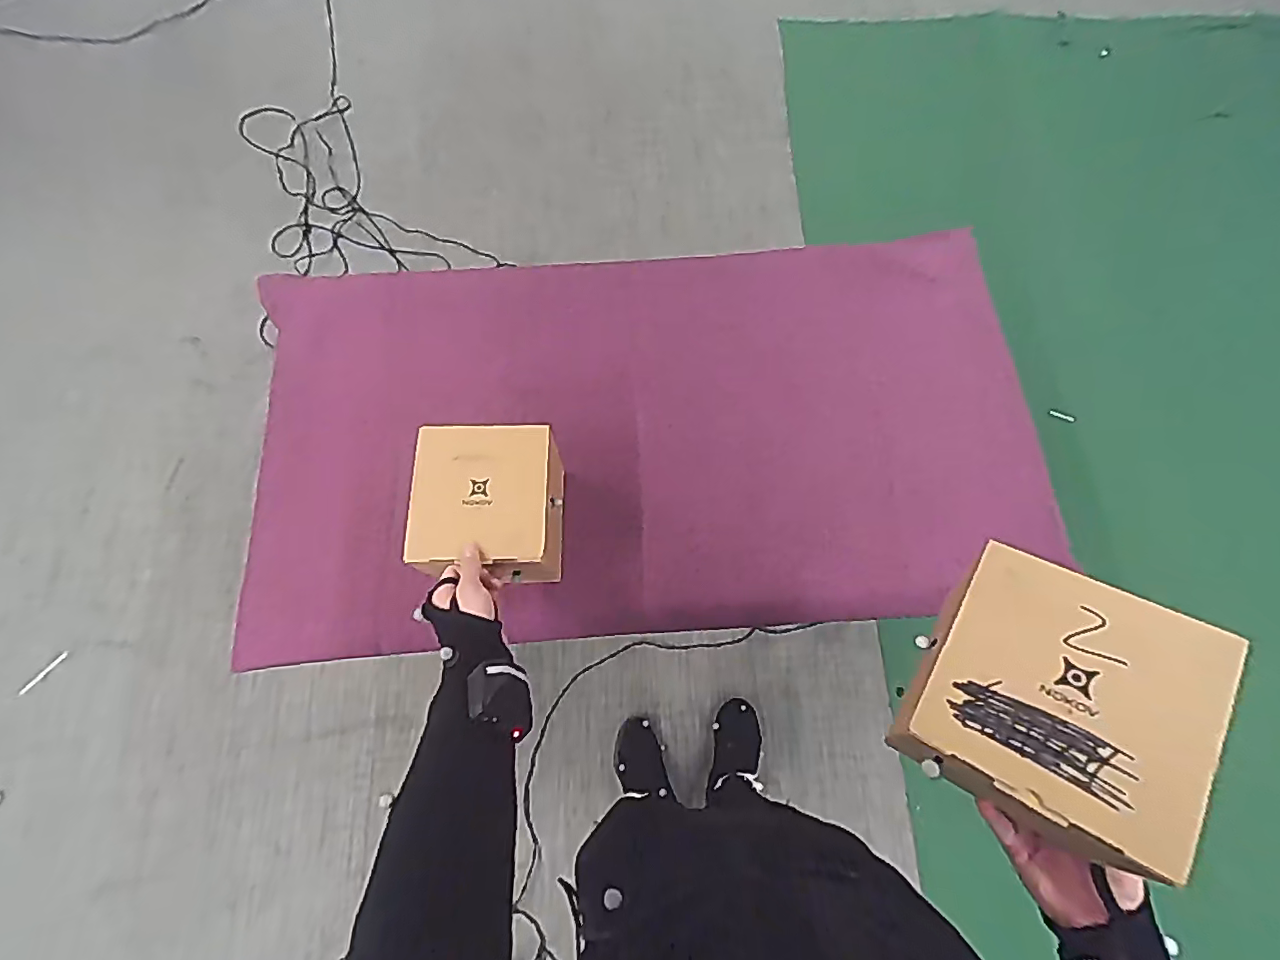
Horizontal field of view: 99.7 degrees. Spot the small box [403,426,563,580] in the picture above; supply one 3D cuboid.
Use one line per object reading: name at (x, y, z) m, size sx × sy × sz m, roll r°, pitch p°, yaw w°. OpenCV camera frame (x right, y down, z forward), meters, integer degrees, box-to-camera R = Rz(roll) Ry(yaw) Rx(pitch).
small box at (-0.198, 0.040, 0.736) m, size 0.168 × 0.176 × 0.179 m, roll 0°, pitch 70°, yaw -1°
